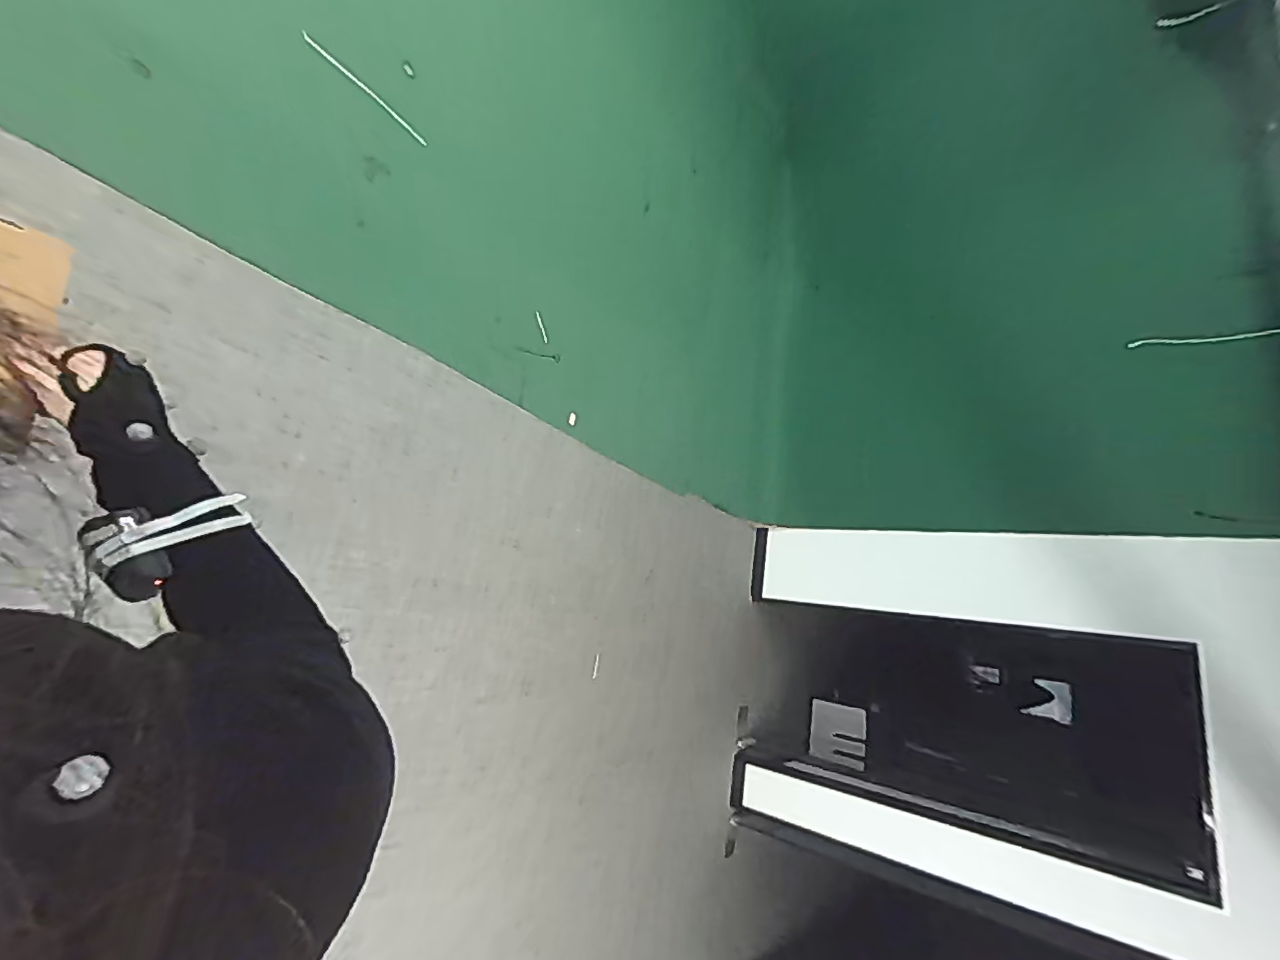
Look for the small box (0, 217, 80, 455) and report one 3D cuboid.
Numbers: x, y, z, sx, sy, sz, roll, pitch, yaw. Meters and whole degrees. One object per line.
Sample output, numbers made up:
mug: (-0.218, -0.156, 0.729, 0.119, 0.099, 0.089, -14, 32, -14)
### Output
small box: (-0.572, -0.124, 0.386, 0.168, 0.176, 0.179, 18, 80, -72)
